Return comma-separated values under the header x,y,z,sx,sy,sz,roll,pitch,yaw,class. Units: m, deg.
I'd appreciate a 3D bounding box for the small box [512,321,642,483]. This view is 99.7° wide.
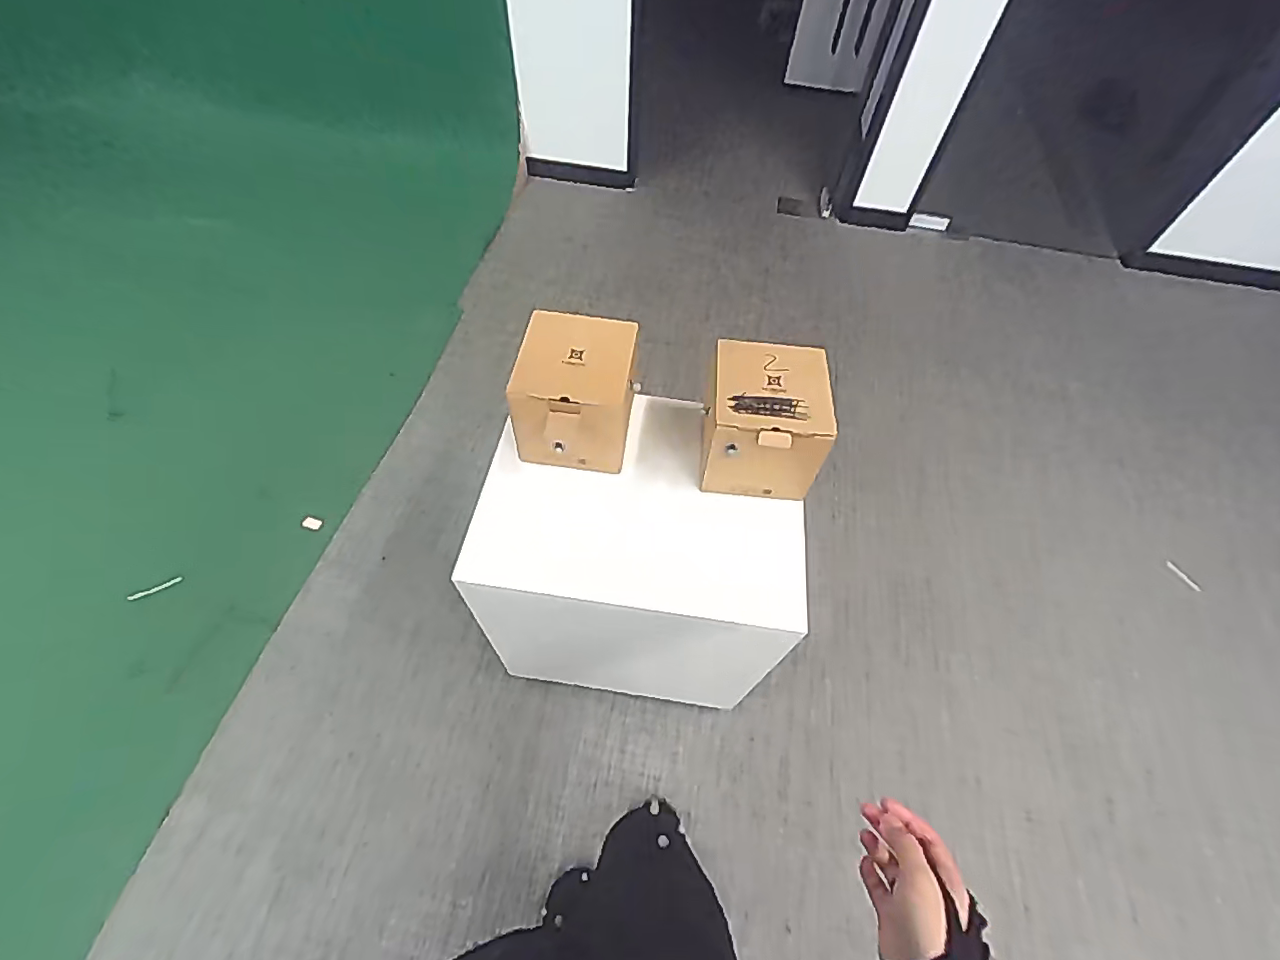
x,y,z,sx,sy,sz,roll,pitch,yaw,class
-0.094,-0.121,0.857,0.168,0.176,0.179,8,57,1,small box
